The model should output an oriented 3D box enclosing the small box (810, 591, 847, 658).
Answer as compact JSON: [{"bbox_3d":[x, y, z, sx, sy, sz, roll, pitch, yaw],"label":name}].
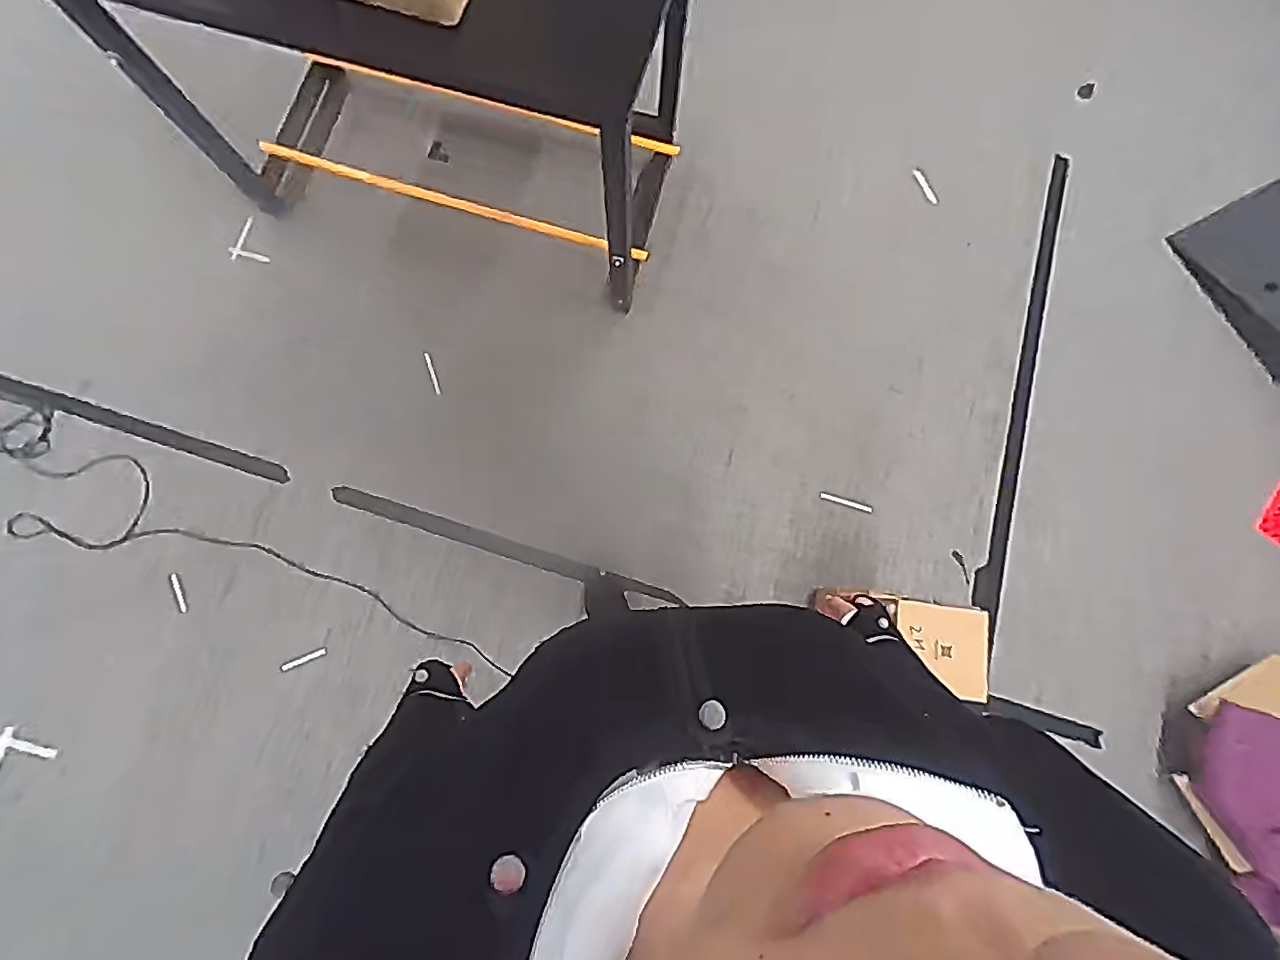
[{"bbox_3d":[0.564,0.383,1.409,0.179,0.176,0.168,9,78,2],"label":"small box"}]

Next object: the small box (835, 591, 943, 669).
[{"bbox_3d":[0.567,0.358,1.247,0.168,0.176,0.179,12,79,2],"label":"small box"}]

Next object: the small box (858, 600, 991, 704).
[{"bbox_3d":[0.563,0.335,1.083,0.179,0.176,0.168,8,79,1],"label":"small box"}]
